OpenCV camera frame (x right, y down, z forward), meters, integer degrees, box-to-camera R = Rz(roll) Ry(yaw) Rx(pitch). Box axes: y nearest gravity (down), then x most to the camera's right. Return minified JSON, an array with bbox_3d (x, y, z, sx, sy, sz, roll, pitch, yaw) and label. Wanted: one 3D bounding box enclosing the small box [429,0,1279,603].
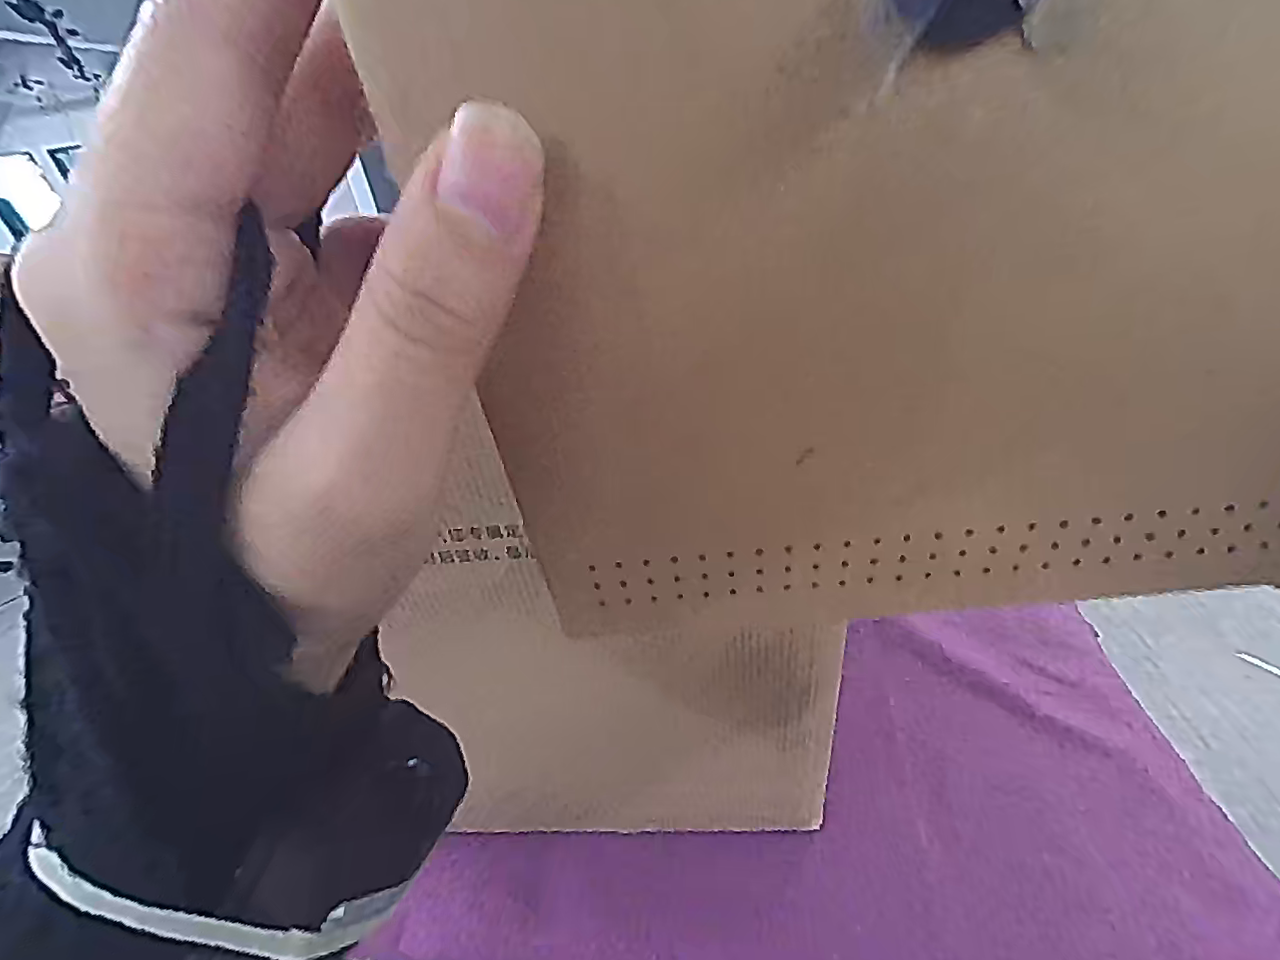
[{"bbox_3d":[0.060,-0.083,0.148,0.179,0.176,0.168,-5,37,5],"label":"small box"}]
